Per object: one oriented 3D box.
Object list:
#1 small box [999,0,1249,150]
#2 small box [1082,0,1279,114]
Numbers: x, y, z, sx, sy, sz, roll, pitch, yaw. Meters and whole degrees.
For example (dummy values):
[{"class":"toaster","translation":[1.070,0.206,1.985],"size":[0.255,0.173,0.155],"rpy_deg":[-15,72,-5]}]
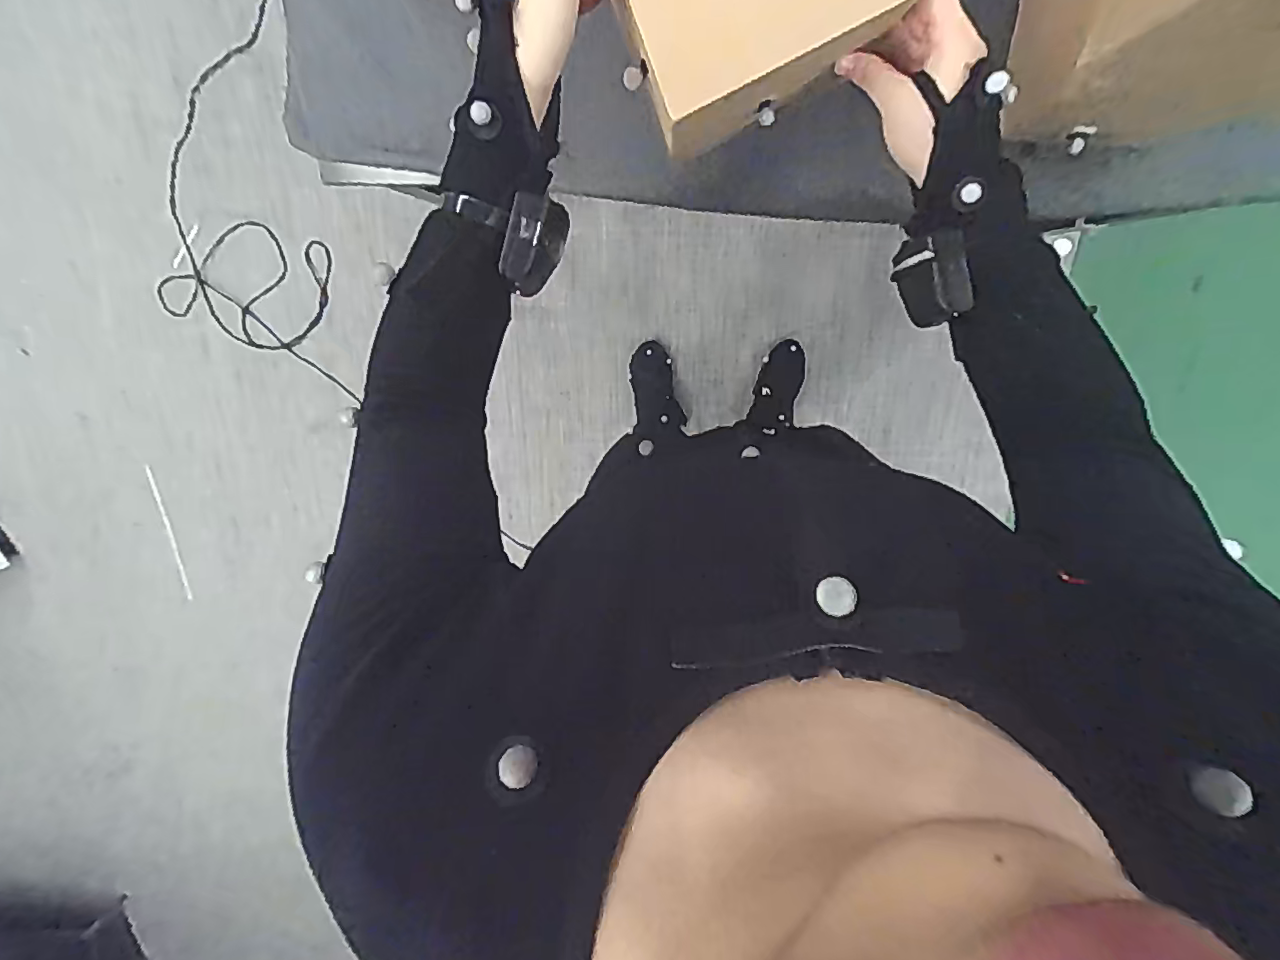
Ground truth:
[{"class":"small box","translation":[0.457,-0.415,0.477],"size":[0.168,0.176,0.179],"rpy_deg":[4,109,5]},{"class":"small box","translation":[0.440,-0.352,0.327],"size":[0.179,0.176,0.168],"rpy_deg":[15,109,2]}]
